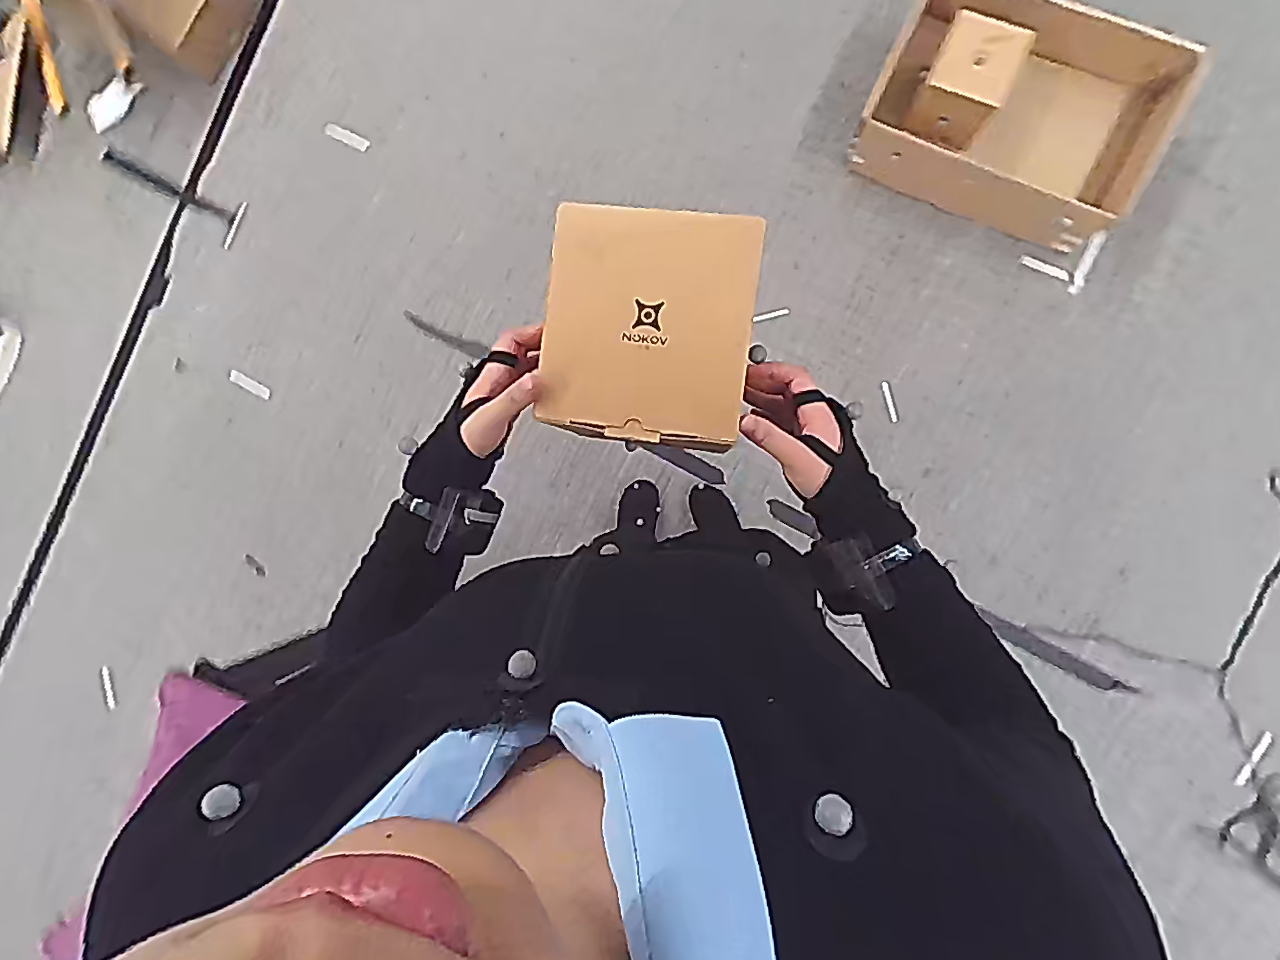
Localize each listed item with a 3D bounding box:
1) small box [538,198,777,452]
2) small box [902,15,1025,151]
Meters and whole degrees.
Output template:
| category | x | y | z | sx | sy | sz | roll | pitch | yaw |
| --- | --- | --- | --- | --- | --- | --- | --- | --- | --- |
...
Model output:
| category | x | y | z | sx | sy | sz | roll | pitch | yaw |
| --- | --- | --- | --- | --- | --- | --- | --- | --- | --- |
| small box | 0.018 | -0.125 | 0.498 | 0.168 | 0.176 | 0.179 | 9 | 92 | 5 |
| small box | 0.751 | -0.927 | 1.280 | 0.168 | 0.176 | 0.179 | 24 | 93 | 5 |
